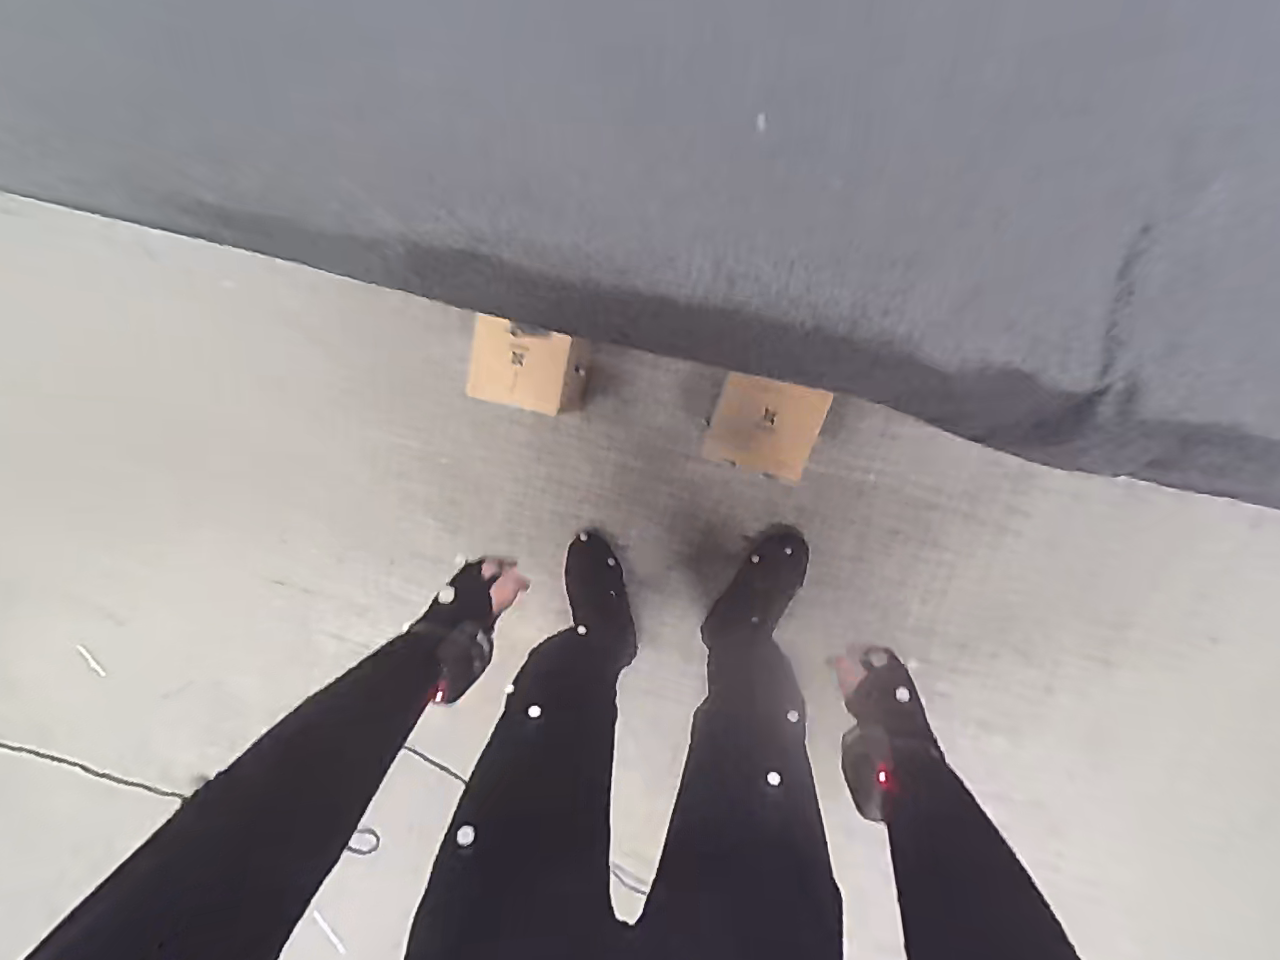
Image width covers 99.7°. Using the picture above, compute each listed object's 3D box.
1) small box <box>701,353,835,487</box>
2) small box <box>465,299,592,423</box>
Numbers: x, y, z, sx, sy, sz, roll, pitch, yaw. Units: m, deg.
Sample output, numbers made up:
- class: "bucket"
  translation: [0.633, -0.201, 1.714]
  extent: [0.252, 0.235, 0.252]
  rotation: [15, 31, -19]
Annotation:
- class: "small box"
  translation: [0.211, -0.106, 0.936]
  extent: [0.168, 0.176, 0.179]
  rotation: [18, 100, 2]
- class: "small box"
  translation: [-0.189, -0.208, 0.964]
  extent: [0.168, 0.176, 0.179]
  rotation: [13, 102, 5]
